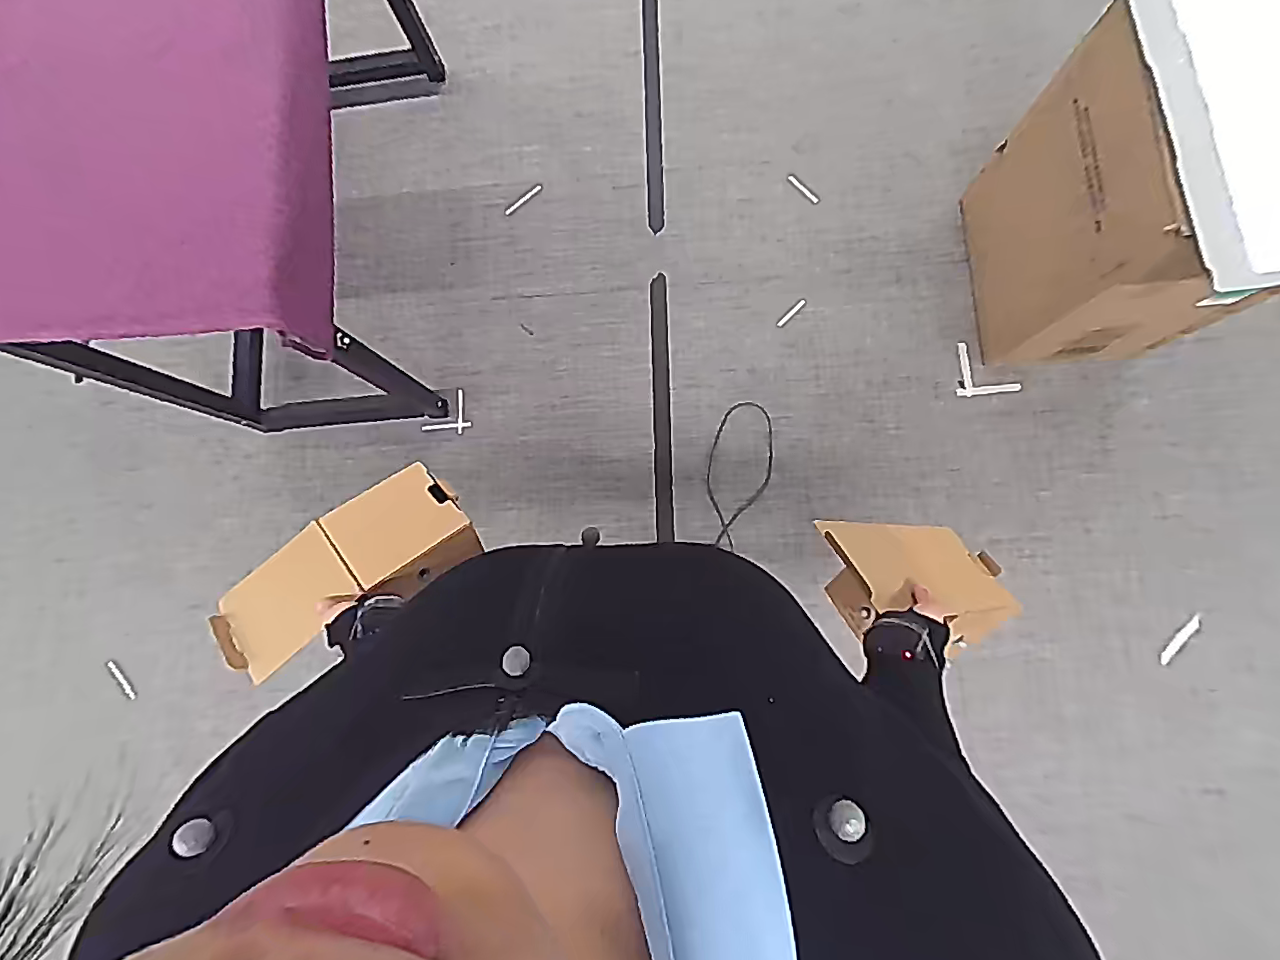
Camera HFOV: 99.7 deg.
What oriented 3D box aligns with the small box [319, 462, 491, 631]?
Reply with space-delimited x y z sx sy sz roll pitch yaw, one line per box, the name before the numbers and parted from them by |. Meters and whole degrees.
small box | -0.370 0.112 0.879 0.179 0.176 0.168 -36 61 -24
